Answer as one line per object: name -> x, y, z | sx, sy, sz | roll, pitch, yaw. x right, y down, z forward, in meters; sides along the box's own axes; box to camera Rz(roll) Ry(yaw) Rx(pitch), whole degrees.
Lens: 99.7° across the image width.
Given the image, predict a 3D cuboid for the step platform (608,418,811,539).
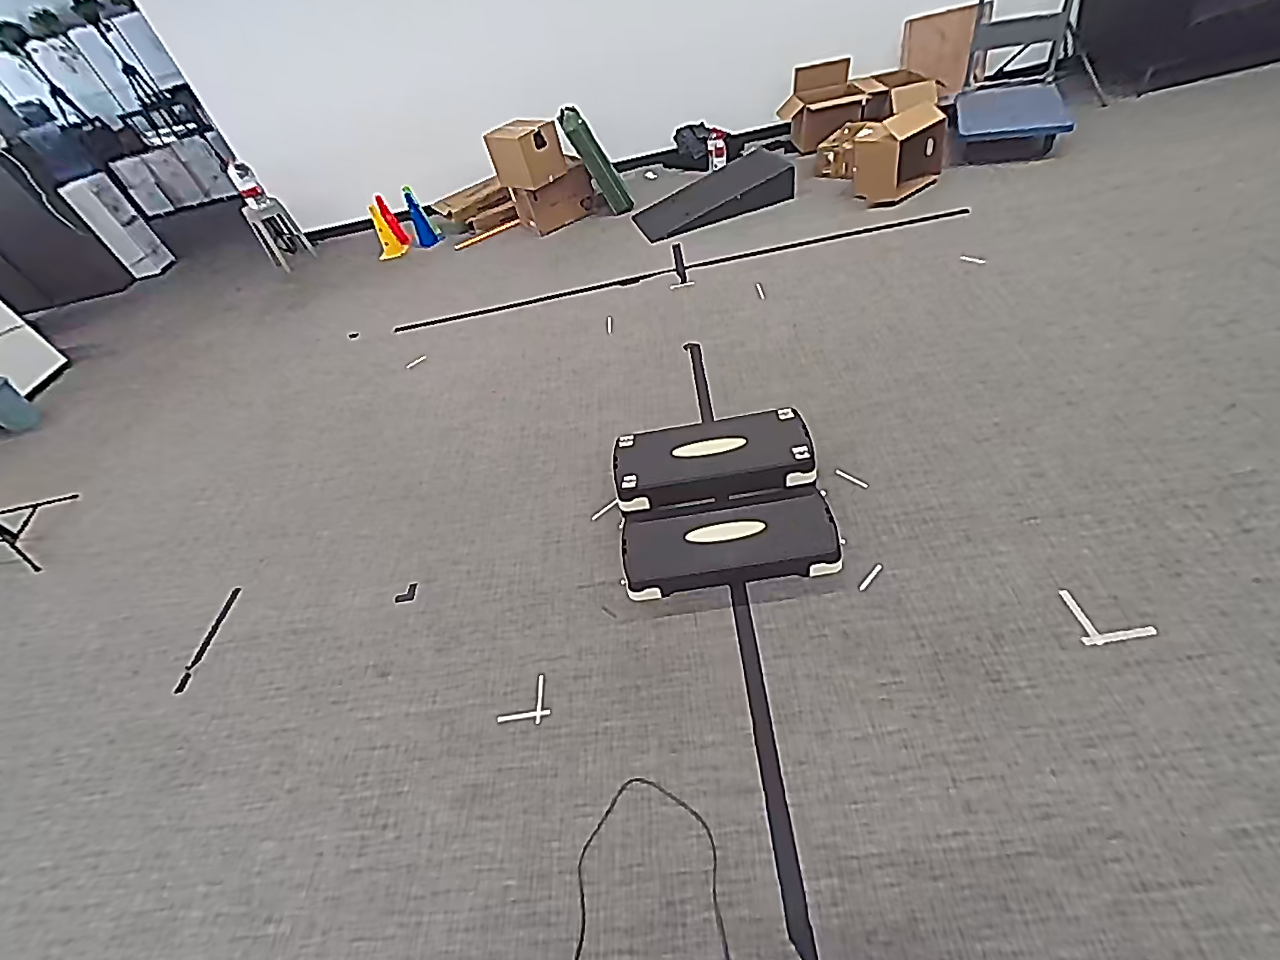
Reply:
step platform -> 0.230, -0.009, 1.874 | 0.684, 0.204, 0.286 | -10, 46, 4
